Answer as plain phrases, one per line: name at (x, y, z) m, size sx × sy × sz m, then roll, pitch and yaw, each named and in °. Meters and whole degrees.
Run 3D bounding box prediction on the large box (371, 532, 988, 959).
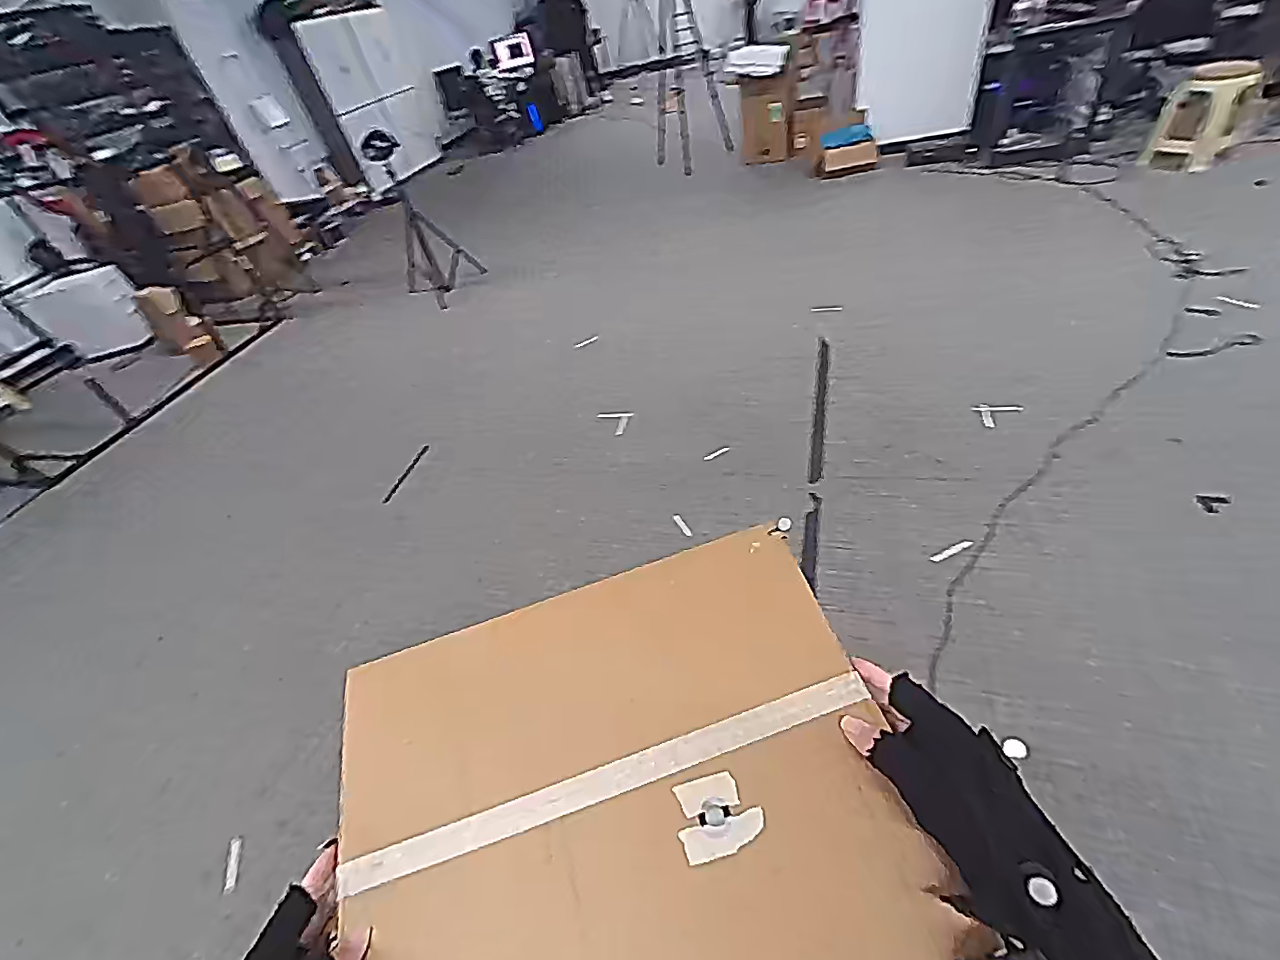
large box at (0.011, 0.313, 0.530) m, size 0.408 × 0.320 × 0.320 m, roll -18°, pitch 54°, yaw -2°
